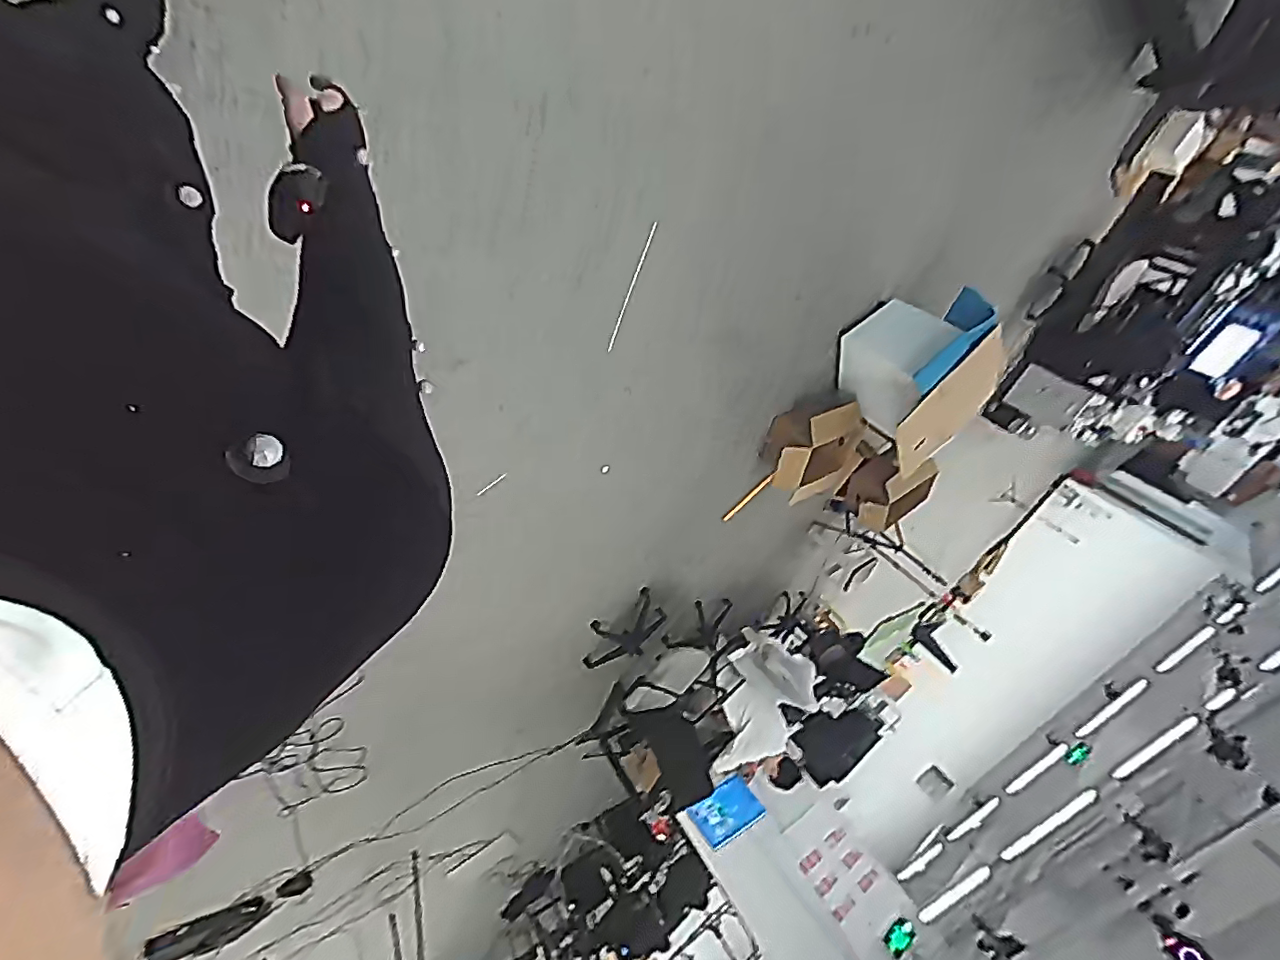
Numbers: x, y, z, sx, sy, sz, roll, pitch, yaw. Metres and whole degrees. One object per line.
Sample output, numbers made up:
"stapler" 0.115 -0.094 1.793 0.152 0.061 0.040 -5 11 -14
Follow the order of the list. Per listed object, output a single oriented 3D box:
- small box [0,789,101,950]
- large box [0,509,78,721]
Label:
"small box" -1.082 0.686 0.957 0.168 0.176 0.179 -4 130 -40
"large box" -1.571 0.327 1.263 0.320 0.320 0.408 -5 130 -40
